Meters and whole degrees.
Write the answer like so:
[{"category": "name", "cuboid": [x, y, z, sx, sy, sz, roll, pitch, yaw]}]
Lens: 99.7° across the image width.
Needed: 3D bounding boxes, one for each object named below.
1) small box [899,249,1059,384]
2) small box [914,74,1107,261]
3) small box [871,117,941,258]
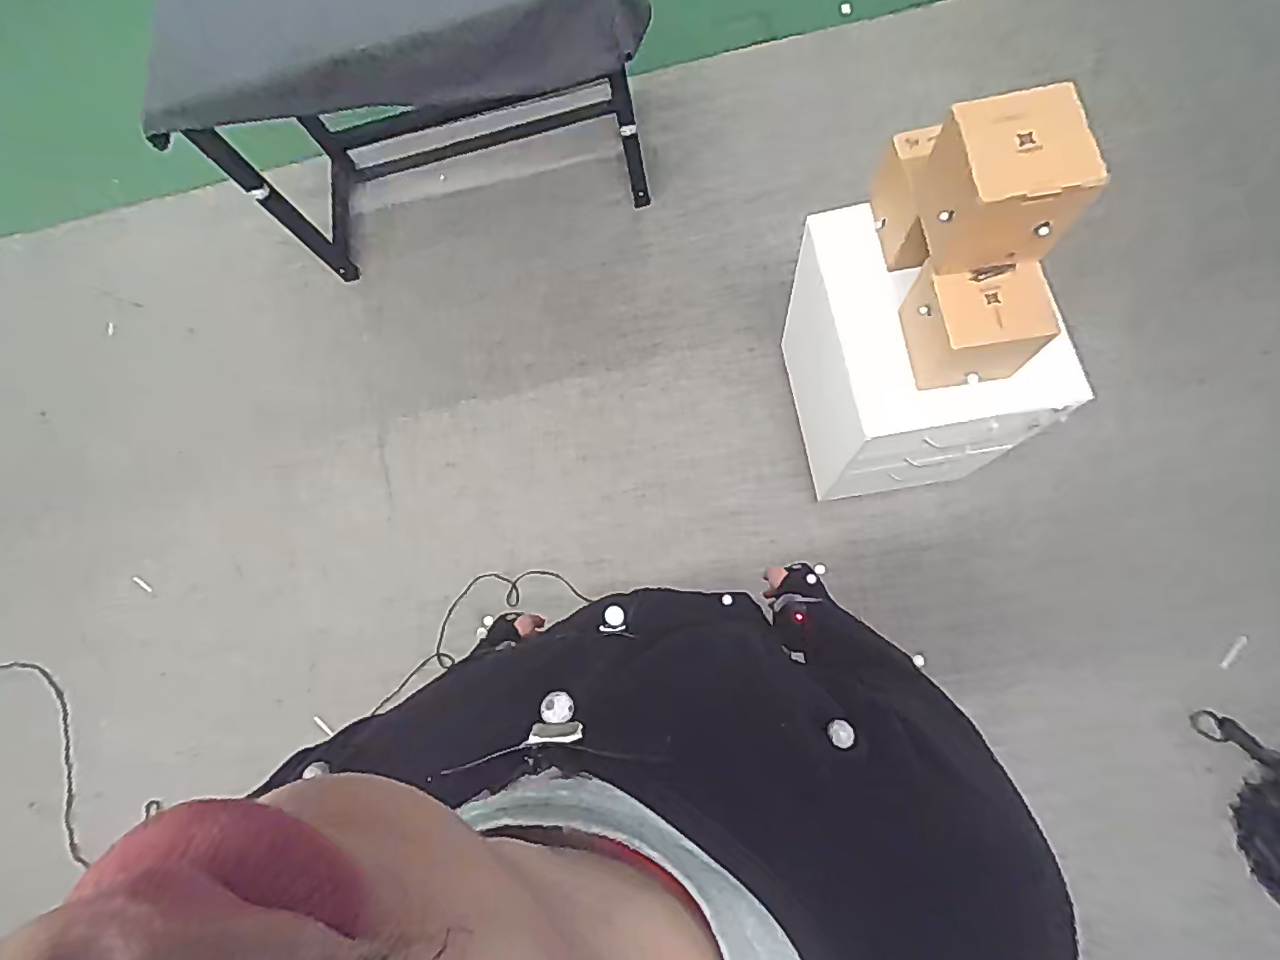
[{"category": "small box", "cuboid": [0.573, -0.288, 0.943, 0.168, 0.176, 0.179, -7, 76, 7]}, {"category": "small box", "cuboid": [0.543, -0.456, 0.821, 0.168, 0.176, 0.179, -7, 74, 6]}, {"category": "small box", "cuboid": [0.550, -0.539, 1.009, 0.168, 0.176, 0.179, -9, 77, 6]}]
